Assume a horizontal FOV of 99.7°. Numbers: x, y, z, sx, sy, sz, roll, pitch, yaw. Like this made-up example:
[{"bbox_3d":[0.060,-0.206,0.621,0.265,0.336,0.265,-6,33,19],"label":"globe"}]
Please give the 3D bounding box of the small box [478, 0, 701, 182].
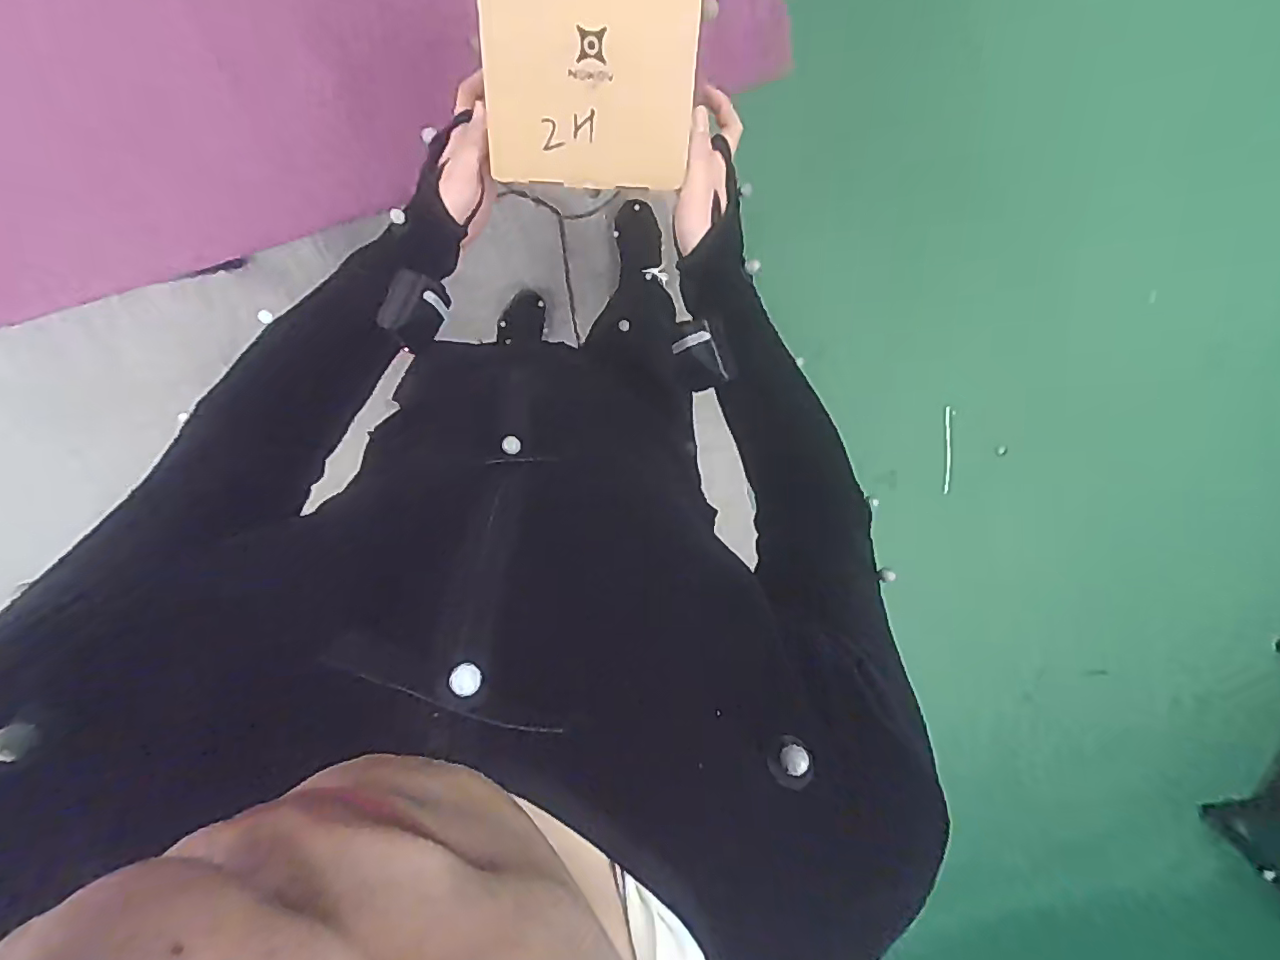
[{"bbox_3d":[-0.041,-0.371,0.477,0.168,0.176,0.179,2,122,-2],"label":"small box"}]
